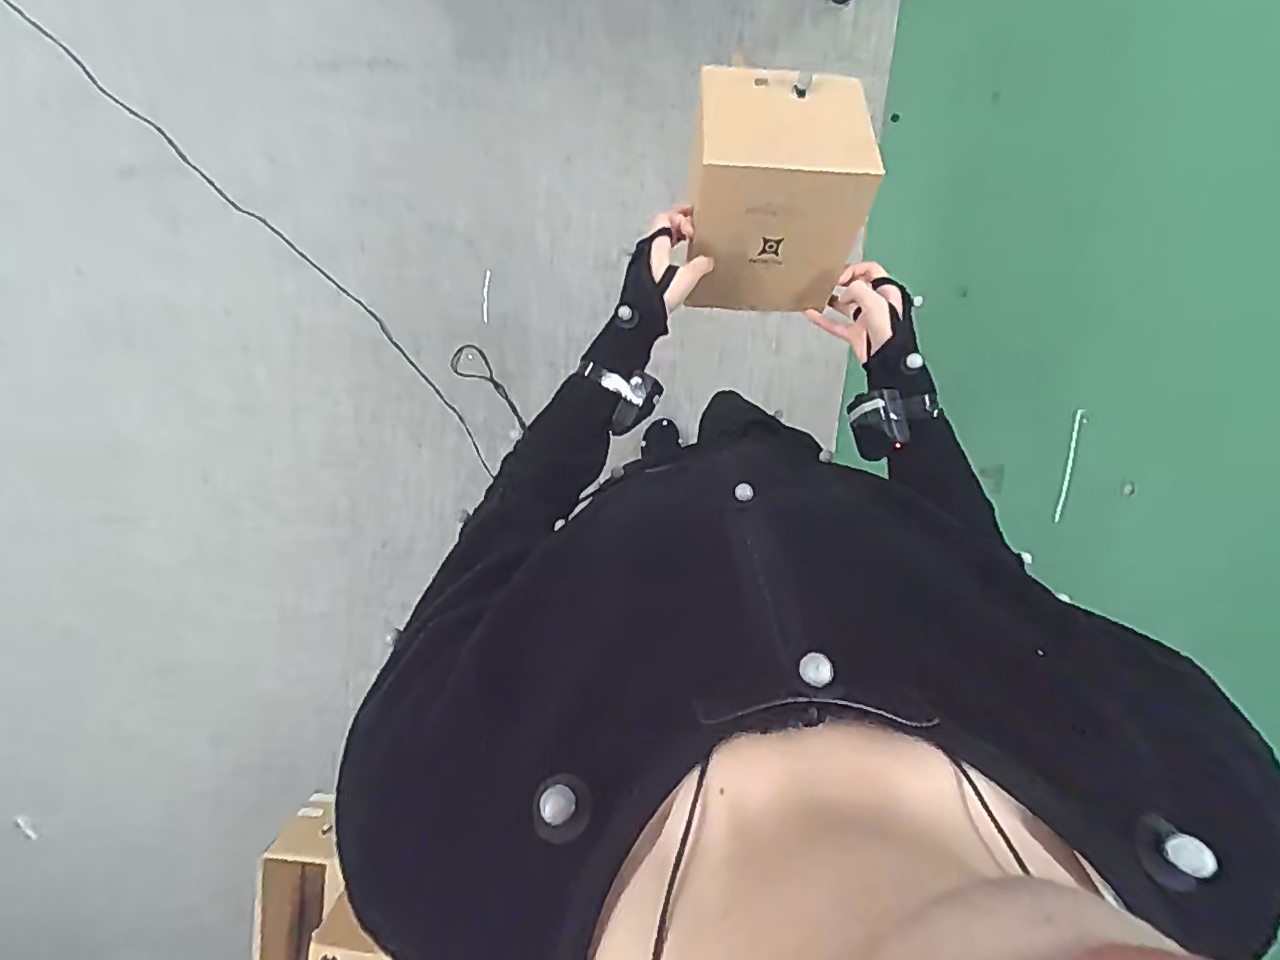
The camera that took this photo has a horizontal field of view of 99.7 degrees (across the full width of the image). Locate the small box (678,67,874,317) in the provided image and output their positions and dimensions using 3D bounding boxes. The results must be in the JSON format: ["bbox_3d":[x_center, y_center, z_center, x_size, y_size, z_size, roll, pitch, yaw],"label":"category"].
[{"bbox_3d":[0.133,-0.307,0.594,0.168,0.179,0.176,3,62,0],"label":"small box"}]
